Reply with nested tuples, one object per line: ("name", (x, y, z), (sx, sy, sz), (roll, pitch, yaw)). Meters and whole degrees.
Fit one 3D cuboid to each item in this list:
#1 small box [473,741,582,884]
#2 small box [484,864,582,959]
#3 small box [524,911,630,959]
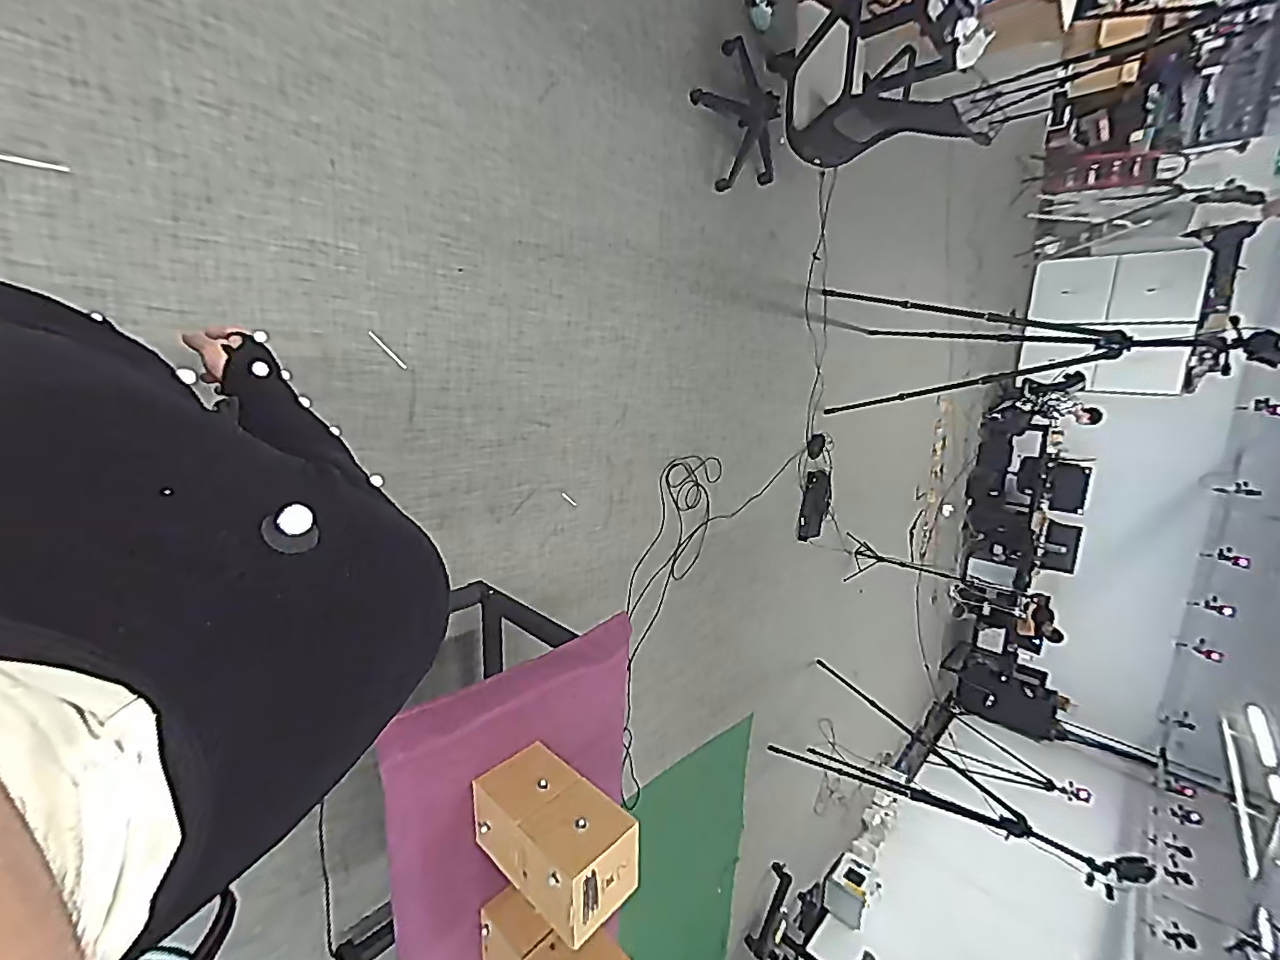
("small box", (-0.247, 0.719, 1.194), (0.179, 0.176, 0.168), (-13, 109, -45))
("small box", (-0.255, 1.057, 1.272), (0.179, 0.176, 0.168), (-12, 108, -46))
("small box", (-0.139, 1.084, 1.160), (0.168, 0.176, 0.179), (-11, 108, -45))
